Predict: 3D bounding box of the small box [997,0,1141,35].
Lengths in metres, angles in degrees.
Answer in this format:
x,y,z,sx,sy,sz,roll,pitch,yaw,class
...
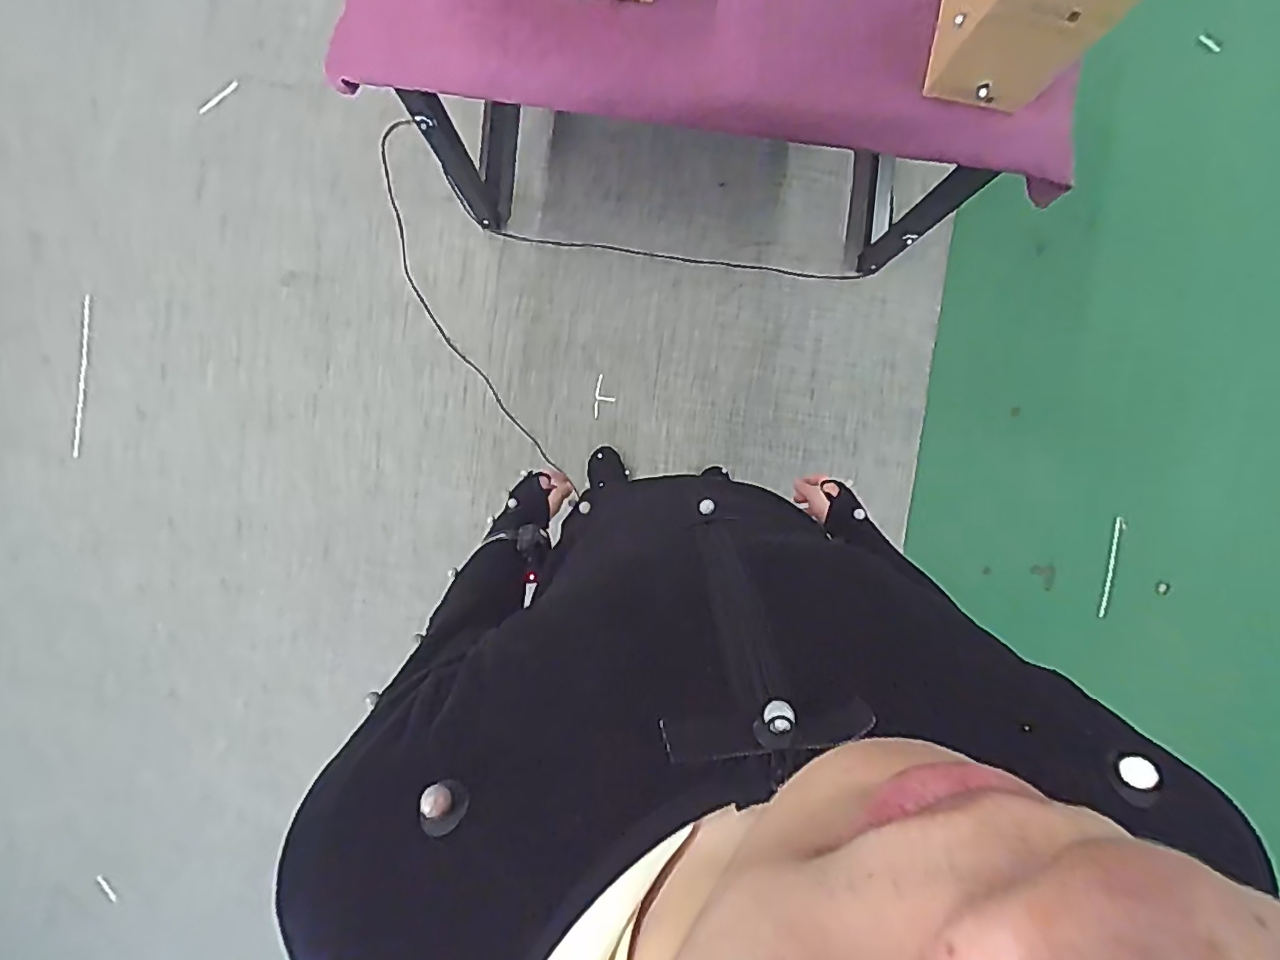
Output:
x,y,z,sx,sy,sz,roll,pitch,yaw,class
0.567,-0.698,0.647,0.168,0.176,0.179,12,91,0,small box
